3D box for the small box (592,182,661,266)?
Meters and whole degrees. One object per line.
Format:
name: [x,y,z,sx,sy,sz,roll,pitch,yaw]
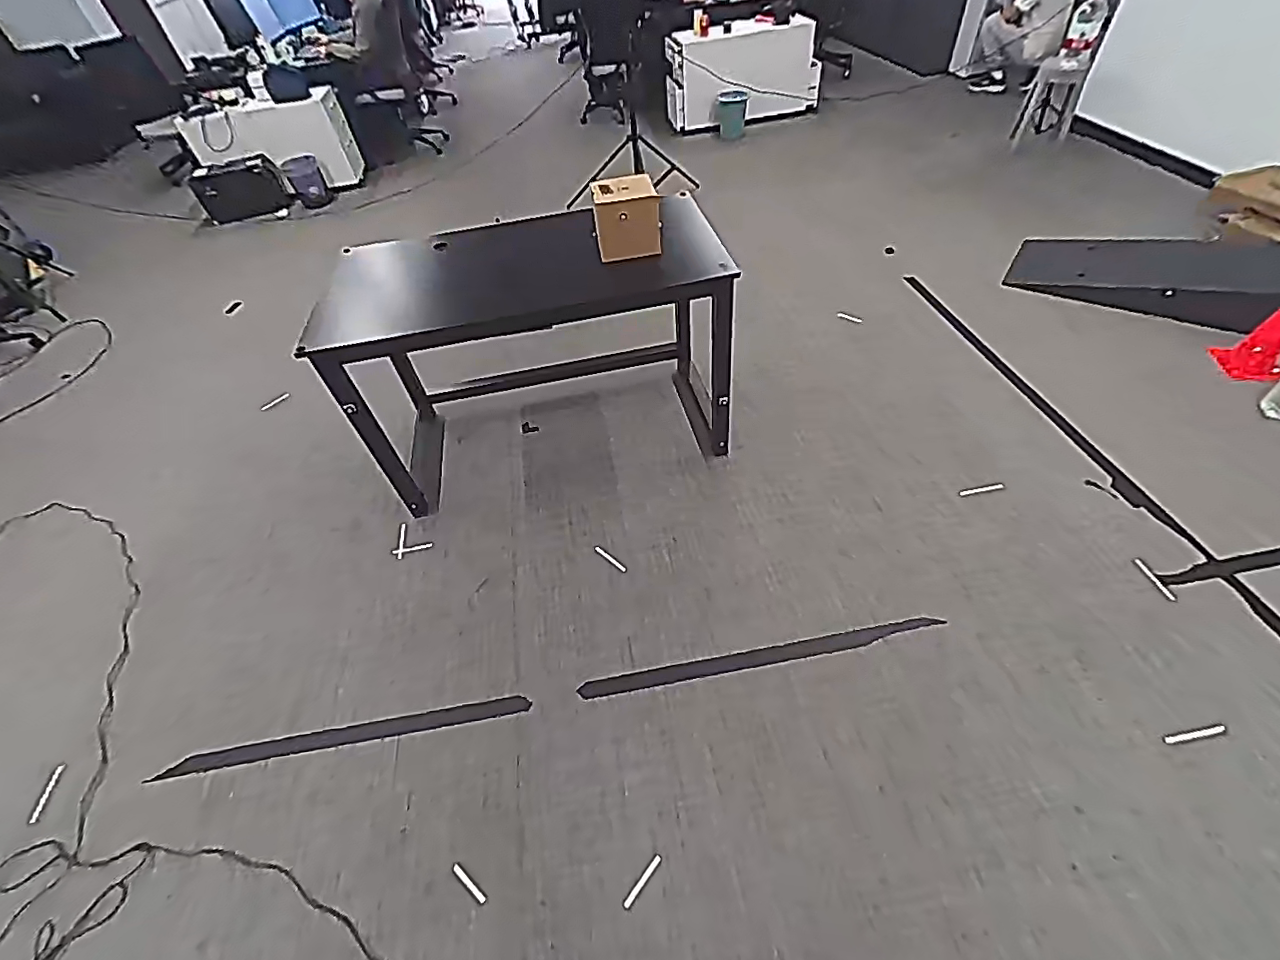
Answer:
small box: [-0.038,-0.752,1.598,0.179,0.176,0.168,-9,48,-2]
